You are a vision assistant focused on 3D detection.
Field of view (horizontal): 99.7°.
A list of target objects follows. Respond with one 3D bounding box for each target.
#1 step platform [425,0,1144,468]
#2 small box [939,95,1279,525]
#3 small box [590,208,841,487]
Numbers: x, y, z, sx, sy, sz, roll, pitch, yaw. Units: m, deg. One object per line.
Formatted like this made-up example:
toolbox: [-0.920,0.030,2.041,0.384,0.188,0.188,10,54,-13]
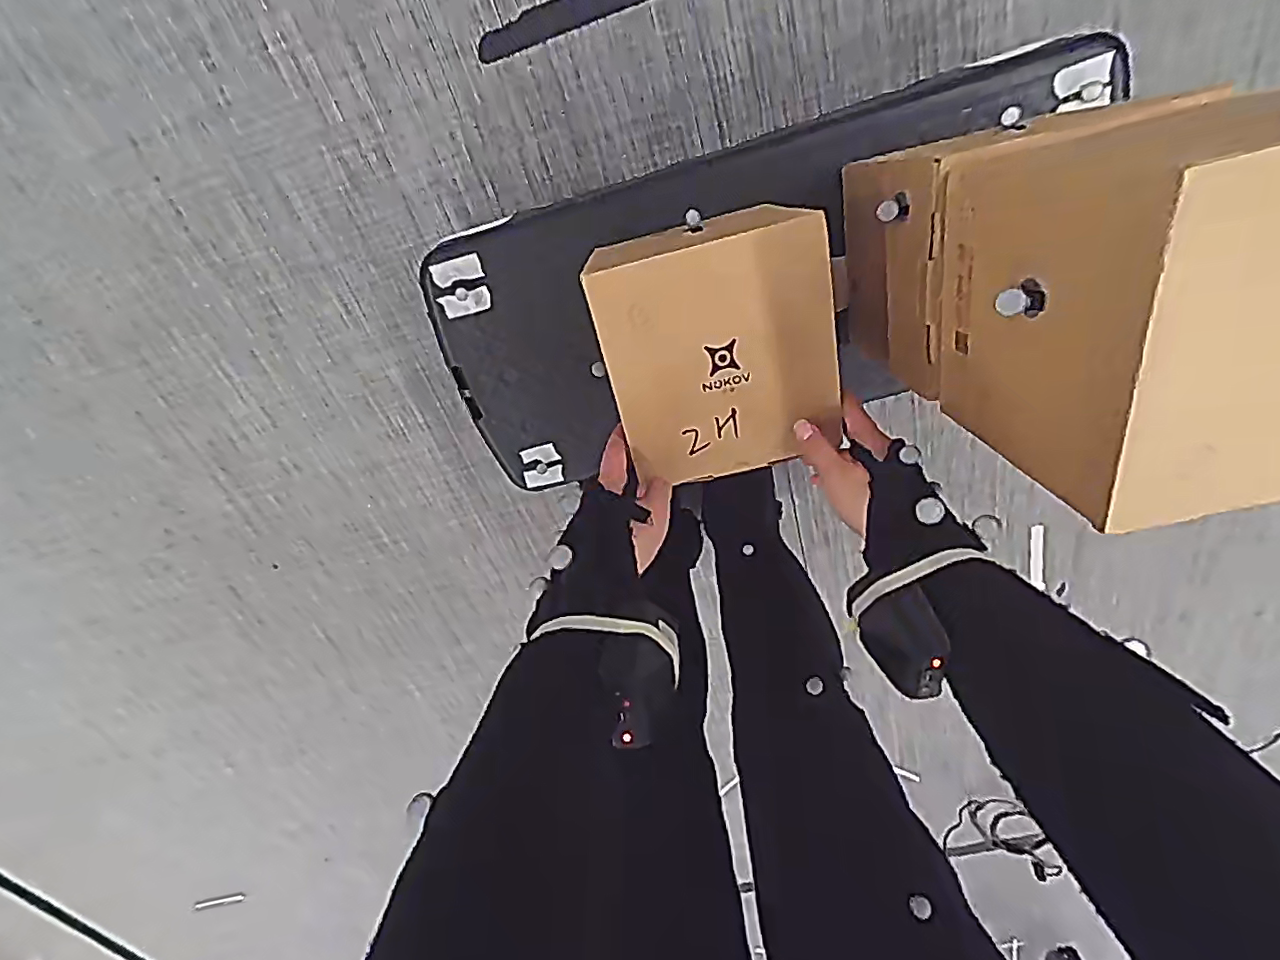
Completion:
step platform: [0.131,-0.241,0.599,0.684,0.204,0.286,-15,117,7]
small box: [0.291,-0.101,0.297,0.179,0.176,0.168,-13,118,4]
small box: [0.059,-0.121,0.464,0.168,0.176,0.179,-12,118,5]
